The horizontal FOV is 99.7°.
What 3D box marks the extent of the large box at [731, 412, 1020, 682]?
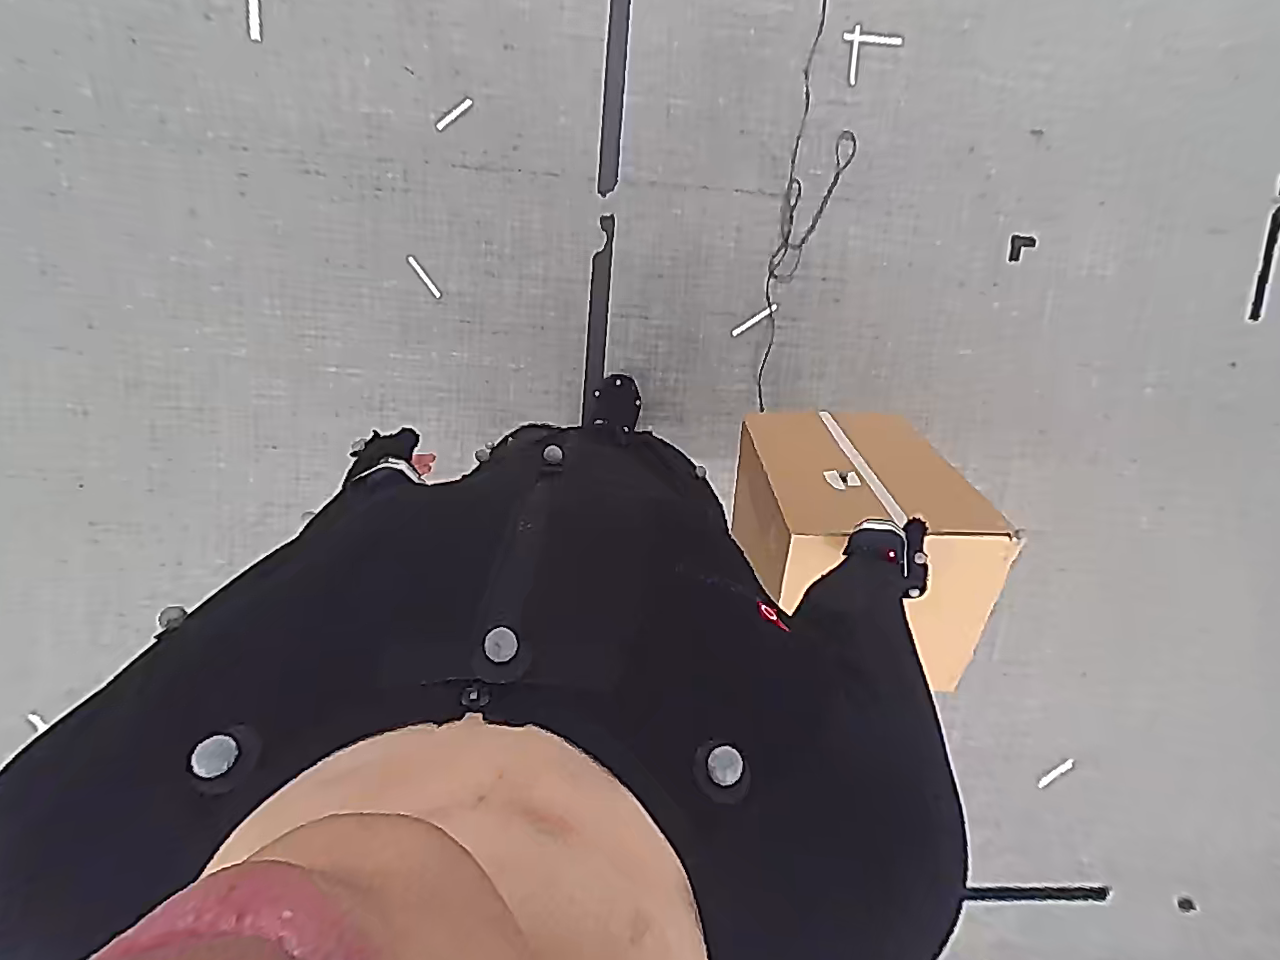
[{"bbox_3d":[0.362,0.101,0.980,0.320,0.408,0.320,0,122,0],"label":"large box"}]
